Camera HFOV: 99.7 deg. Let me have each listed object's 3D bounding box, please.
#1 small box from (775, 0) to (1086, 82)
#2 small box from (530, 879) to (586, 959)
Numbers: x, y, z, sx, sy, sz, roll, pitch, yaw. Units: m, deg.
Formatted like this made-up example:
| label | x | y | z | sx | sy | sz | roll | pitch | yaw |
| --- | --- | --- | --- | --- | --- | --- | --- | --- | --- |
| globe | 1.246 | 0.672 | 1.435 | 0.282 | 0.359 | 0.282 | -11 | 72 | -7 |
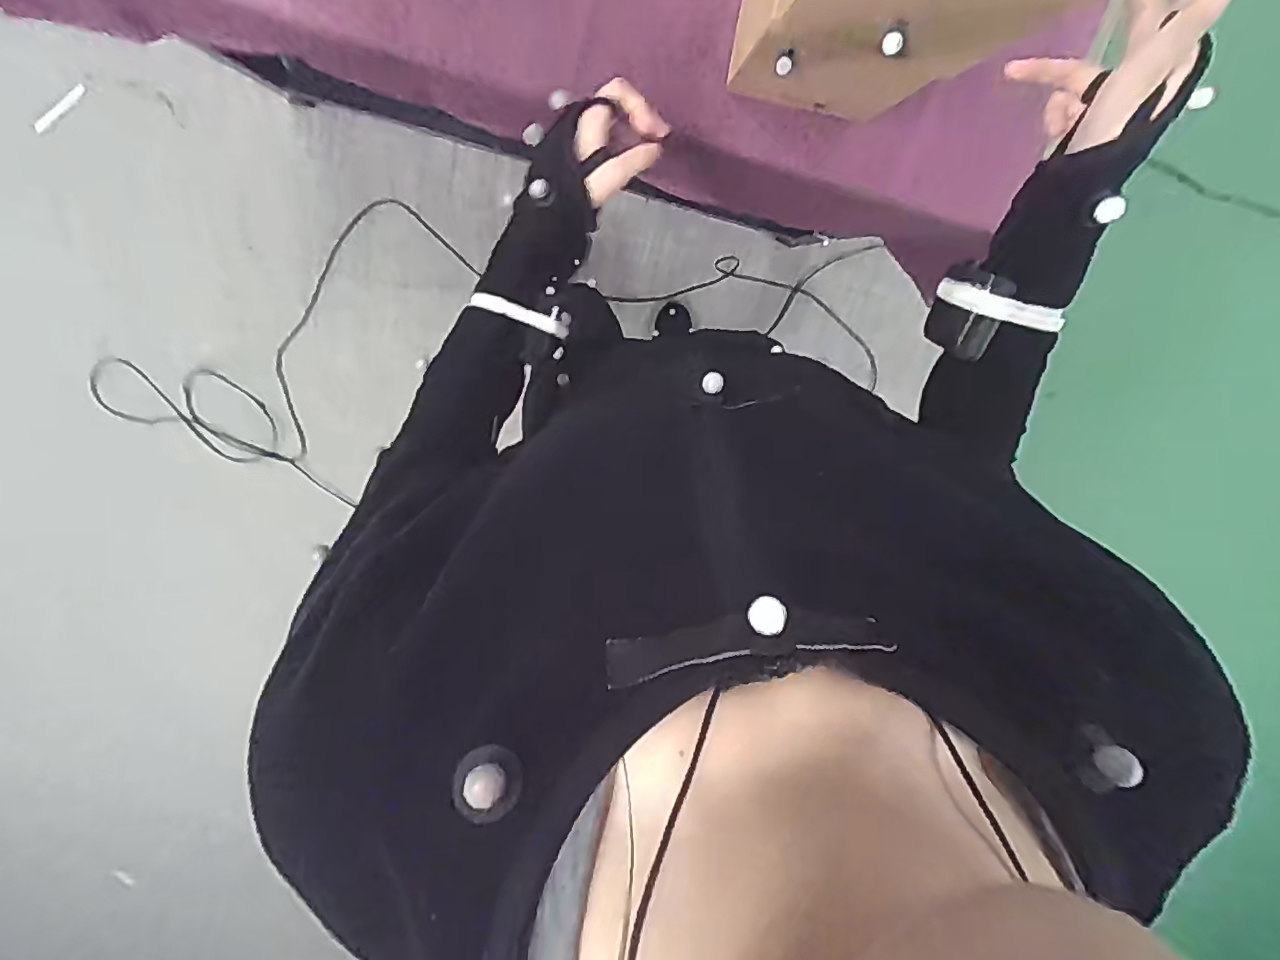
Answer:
| label | x | y | z | sx | sy | sz | roll | pitch | yaw |
| --- | --- | --- | --- | --- | --- | --- | --- | --- | --- |
| small box | 0.203 | -0.403 | 0.351 | 0.168 | 0.176 | 0.179 | 7 | 109 | -7 |
| small box | -0.299 | 1.589 | 1.963 | 0.179 | 0.176 | 0.168 | 8 | 109 | -11 |
